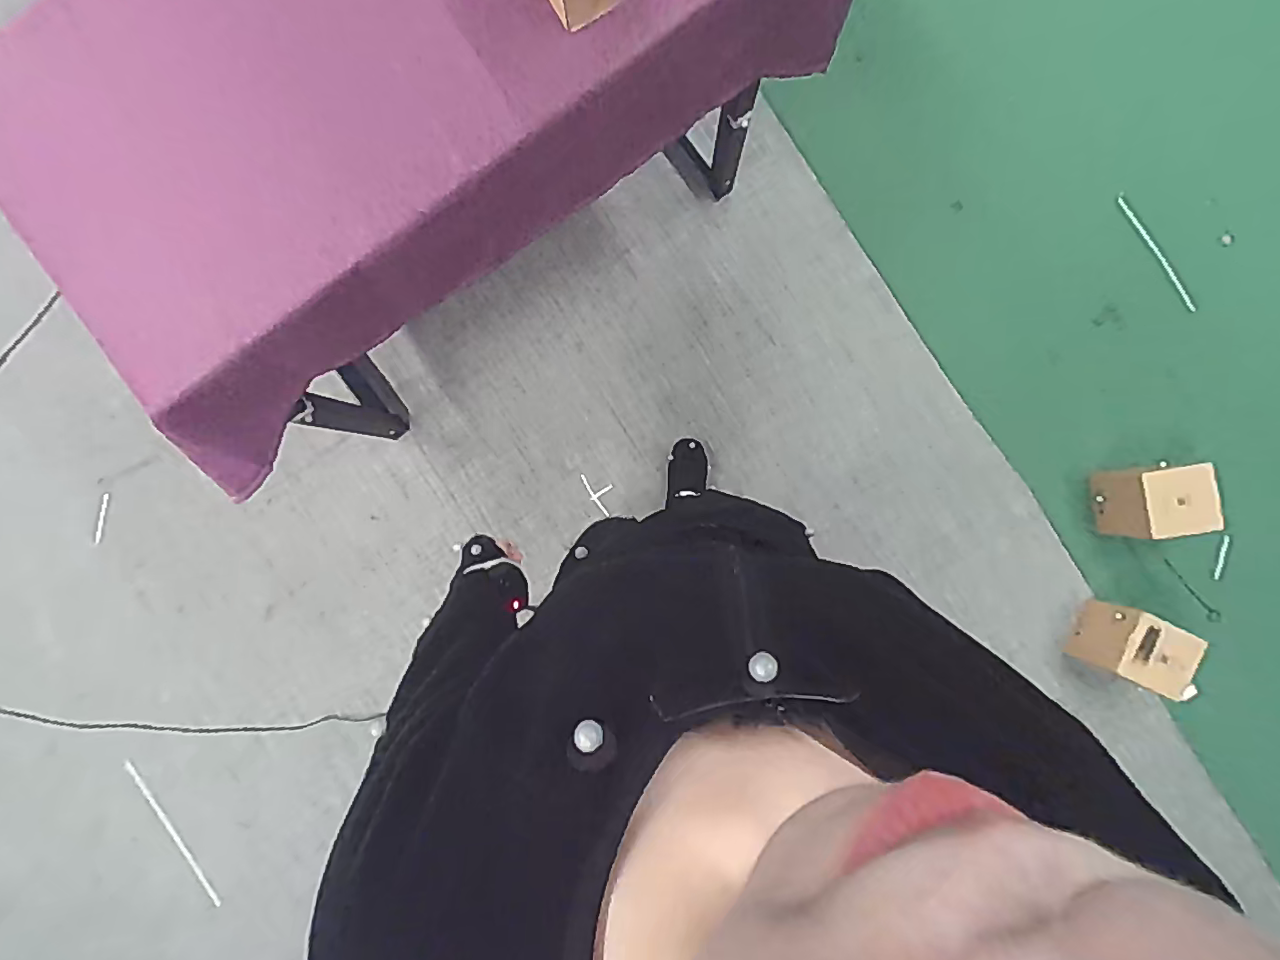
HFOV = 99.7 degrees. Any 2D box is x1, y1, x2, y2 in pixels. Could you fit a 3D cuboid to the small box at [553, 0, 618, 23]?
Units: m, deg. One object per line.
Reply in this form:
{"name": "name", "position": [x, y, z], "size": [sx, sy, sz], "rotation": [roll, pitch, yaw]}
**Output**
{"name": "small box", "position": [-0.077, -0.767, 0.700], "size": [0.168, 0.176, 0.179], "rotation": [-31, 89, 1]}

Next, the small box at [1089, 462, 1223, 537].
{"name": "small box", "position": [1.312, 0.045, 1.384], "size": [0.179, 0.176, 0.168], "rotation": [-9, 89, 1]}
